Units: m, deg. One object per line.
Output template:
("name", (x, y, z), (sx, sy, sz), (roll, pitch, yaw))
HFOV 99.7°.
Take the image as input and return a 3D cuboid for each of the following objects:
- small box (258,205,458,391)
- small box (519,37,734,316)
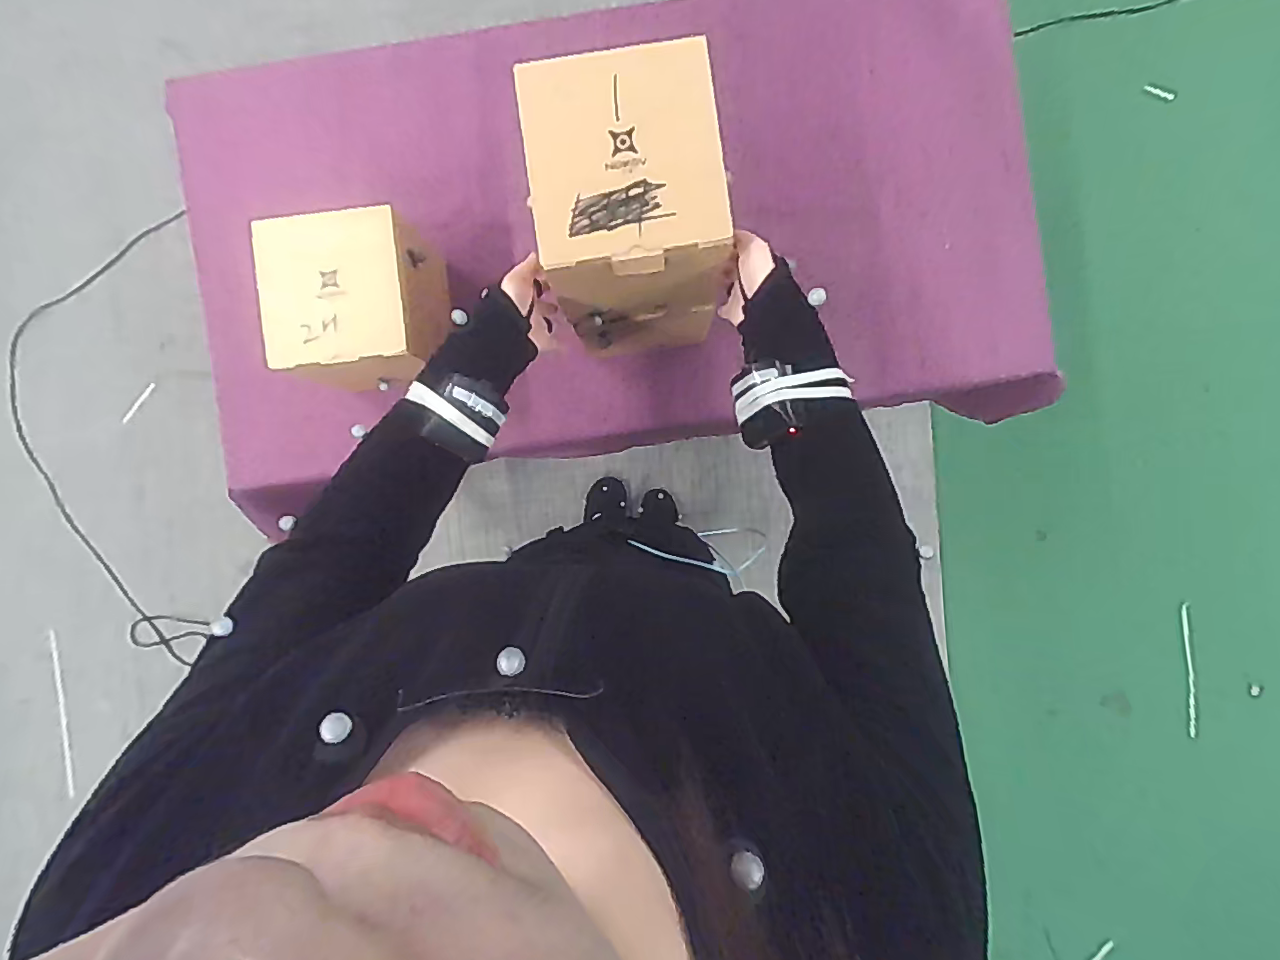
("small box", (-0.350, -0.222, 0.701), (0.168, 0.176, 0.179), (-6, 90, 1))
("small box", (-0.009, -0.273, 0.530), (0.168, 0.176, 0.179), (-8, 88, 1))
